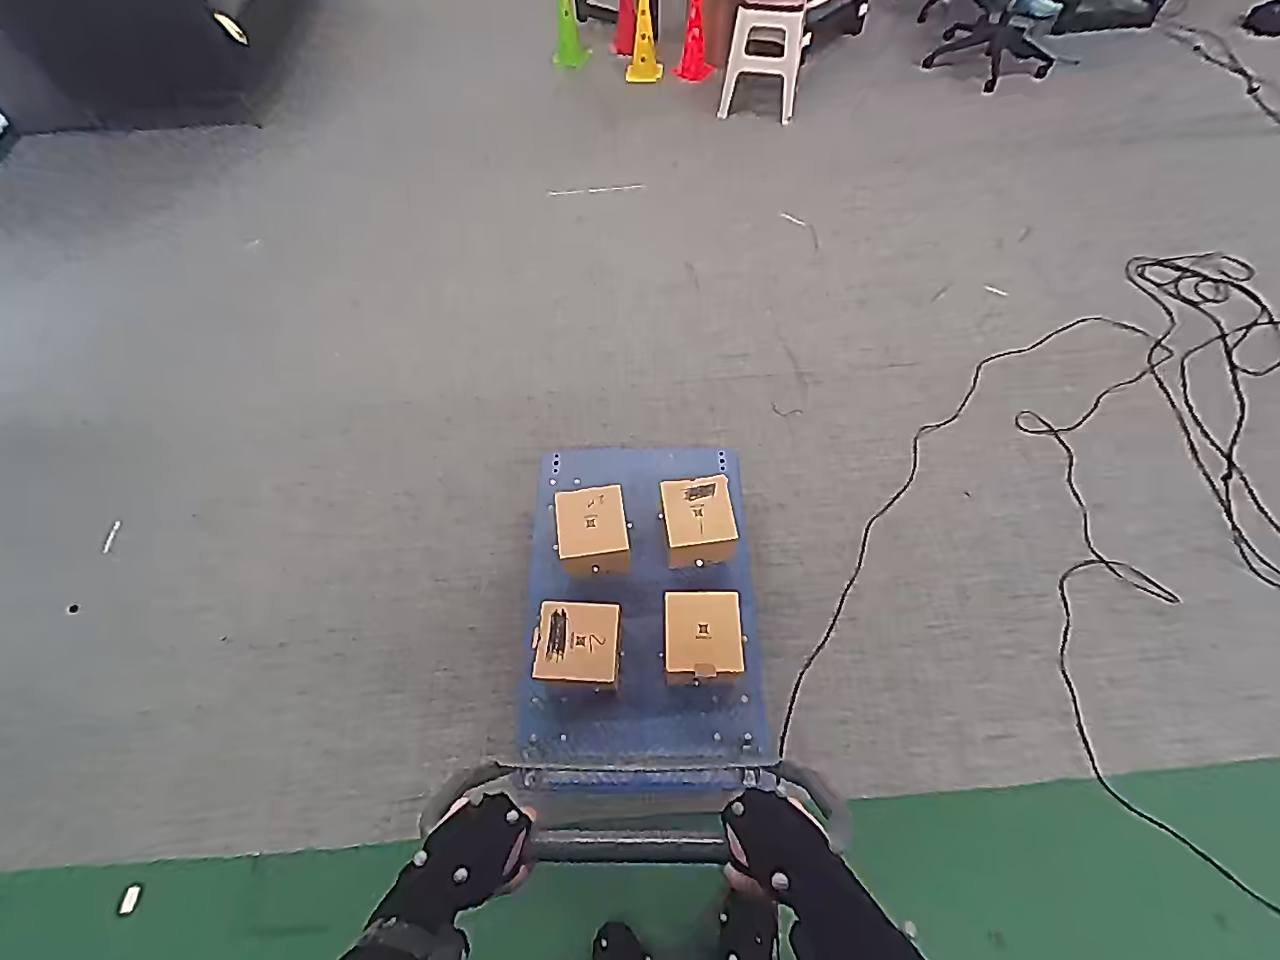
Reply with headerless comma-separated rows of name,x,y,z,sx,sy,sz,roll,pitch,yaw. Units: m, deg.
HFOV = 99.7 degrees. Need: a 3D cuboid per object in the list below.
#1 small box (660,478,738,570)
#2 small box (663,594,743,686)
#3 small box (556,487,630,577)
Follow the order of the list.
small box,0.143,0.115,1.379,0.168,0.176,0.179,-7,63,-2
small box,0.139,0.371,1.248,0.168,0.176,0.179,0,63,1
small box,-0.117,0.139,1.370,0.168,0.176,0.179,-7,62,-3
